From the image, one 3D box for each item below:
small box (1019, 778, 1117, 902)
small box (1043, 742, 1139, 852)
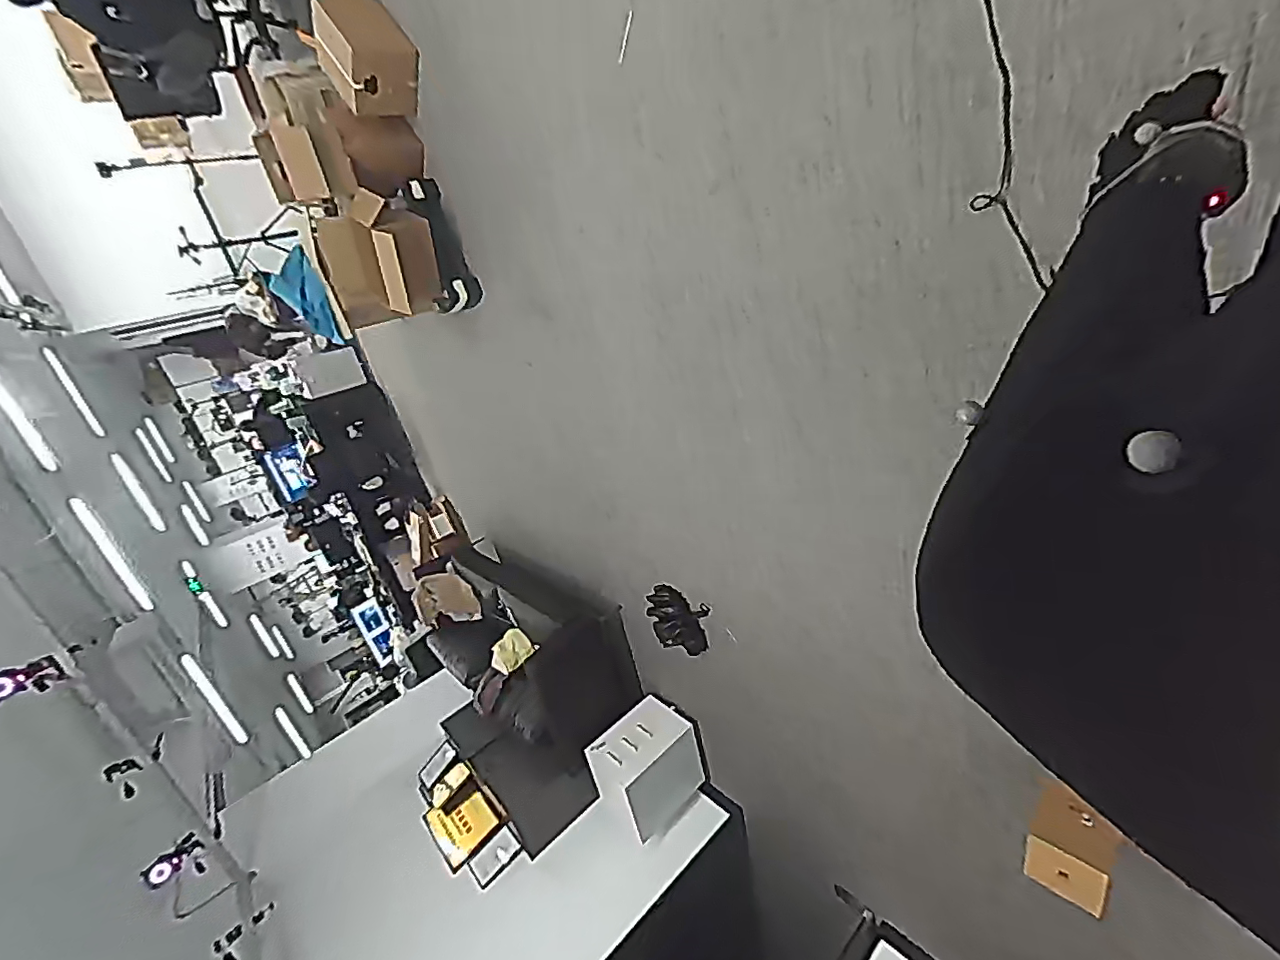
[{"bbox_3d":[1.139,0.950,1.440,0.168,0.176,0.179,14,125,47],"label":"small box"},{"bbox_3d":[1.260,0.879,1.524,0.179,0.176,0.168,18,129,48],"label":"small box"}]
